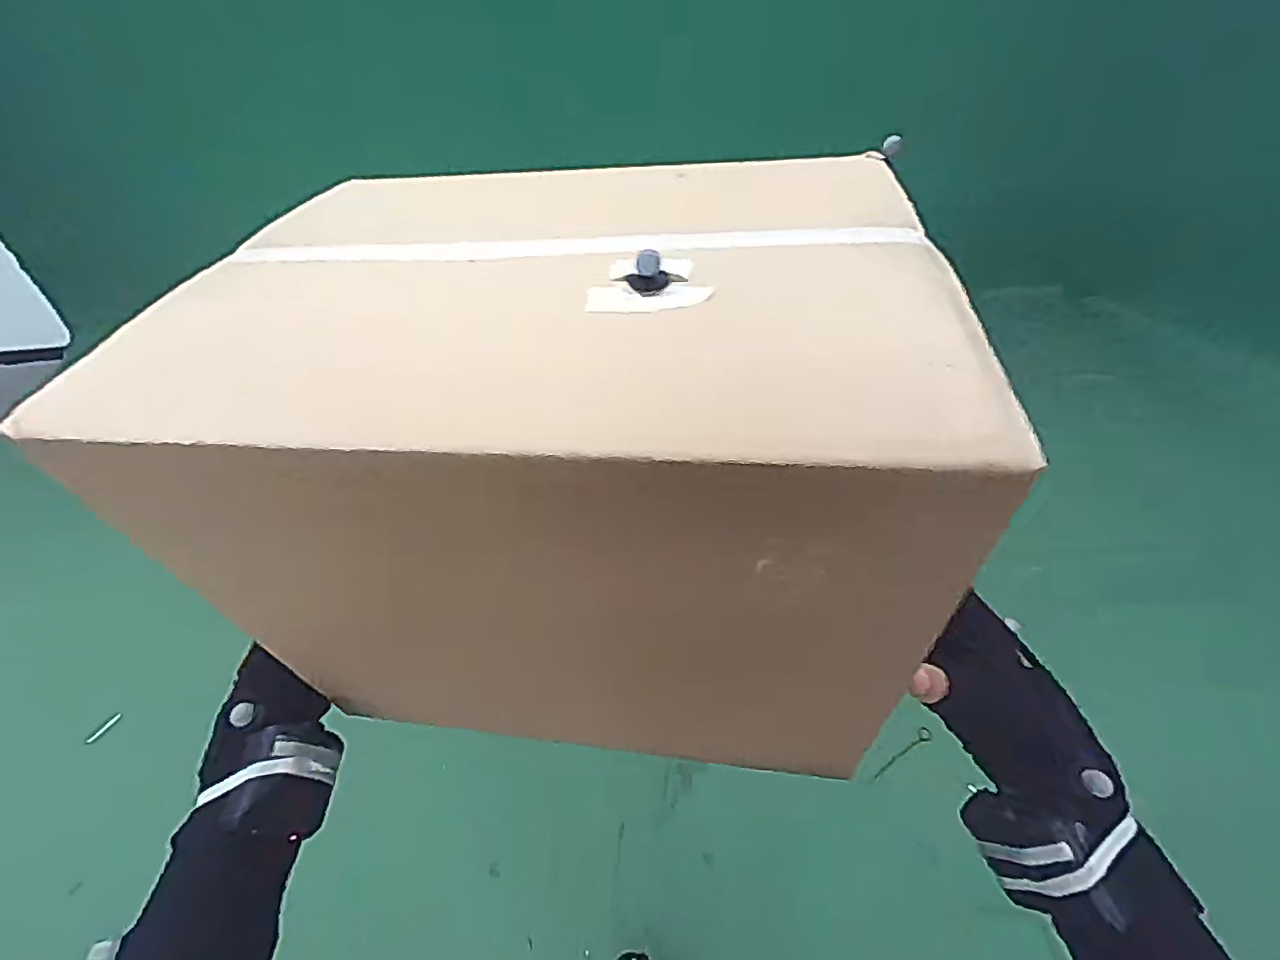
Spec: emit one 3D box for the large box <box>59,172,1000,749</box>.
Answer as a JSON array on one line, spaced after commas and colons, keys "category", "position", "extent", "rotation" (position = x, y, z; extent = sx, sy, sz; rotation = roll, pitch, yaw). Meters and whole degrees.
[{"category": "large box", "position": [-0.039, -0.019, 0.423], "extent": [0.408, 0.320, 0.320], "rotation": [3, 47, 9]}]
